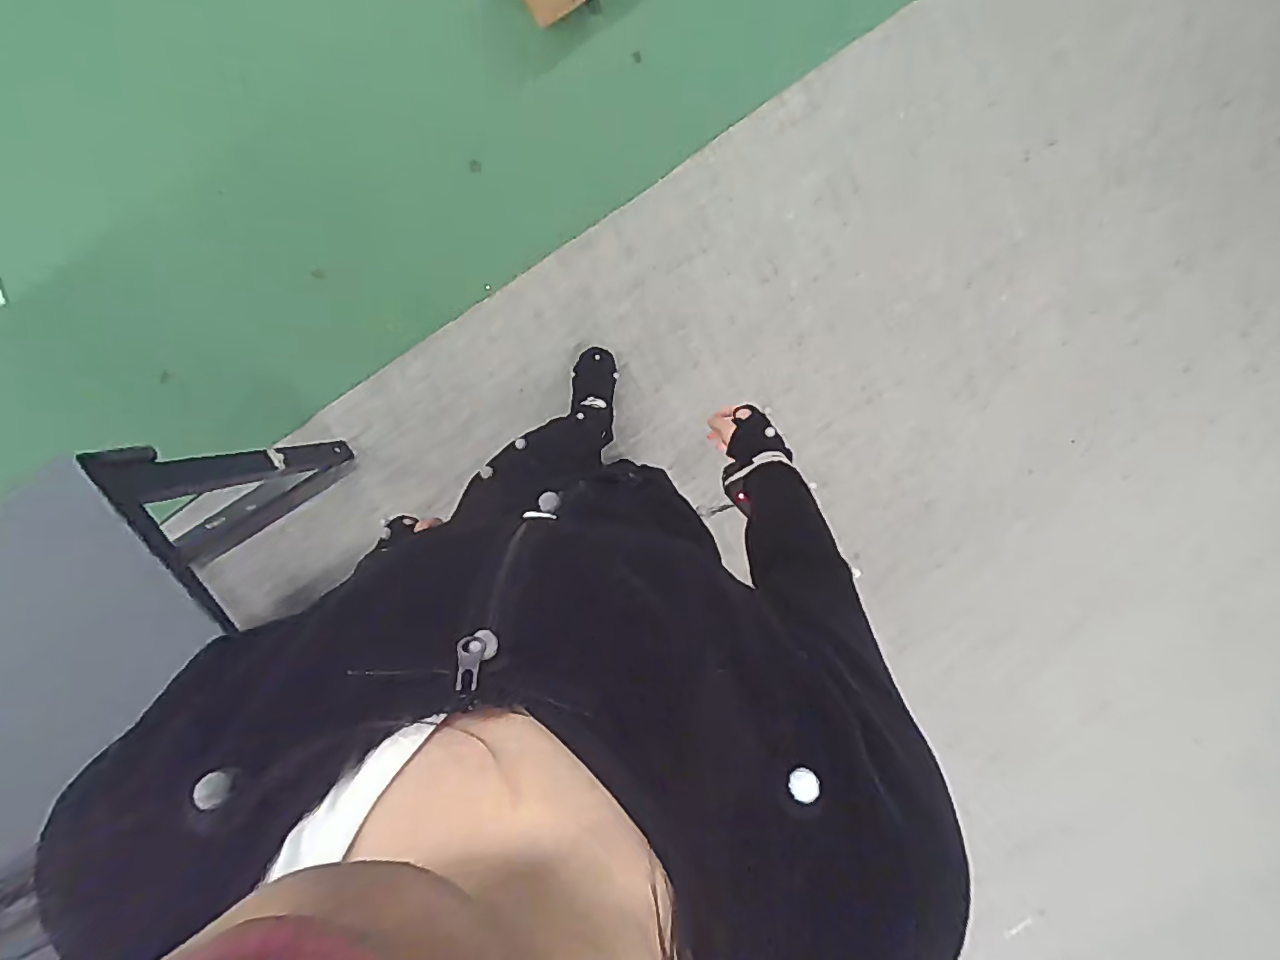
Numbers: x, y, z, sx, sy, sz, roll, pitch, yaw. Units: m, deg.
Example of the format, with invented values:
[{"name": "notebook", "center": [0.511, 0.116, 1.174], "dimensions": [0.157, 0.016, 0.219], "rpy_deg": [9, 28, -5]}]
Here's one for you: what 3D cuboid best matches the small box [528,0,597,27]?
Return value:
[{"name": "small box", "center": [-0.205, -1.222, 1.265], "dimensions": [0.168, 0.176, 0.179], "rpy_deg": [-33, 96, 4]}]
